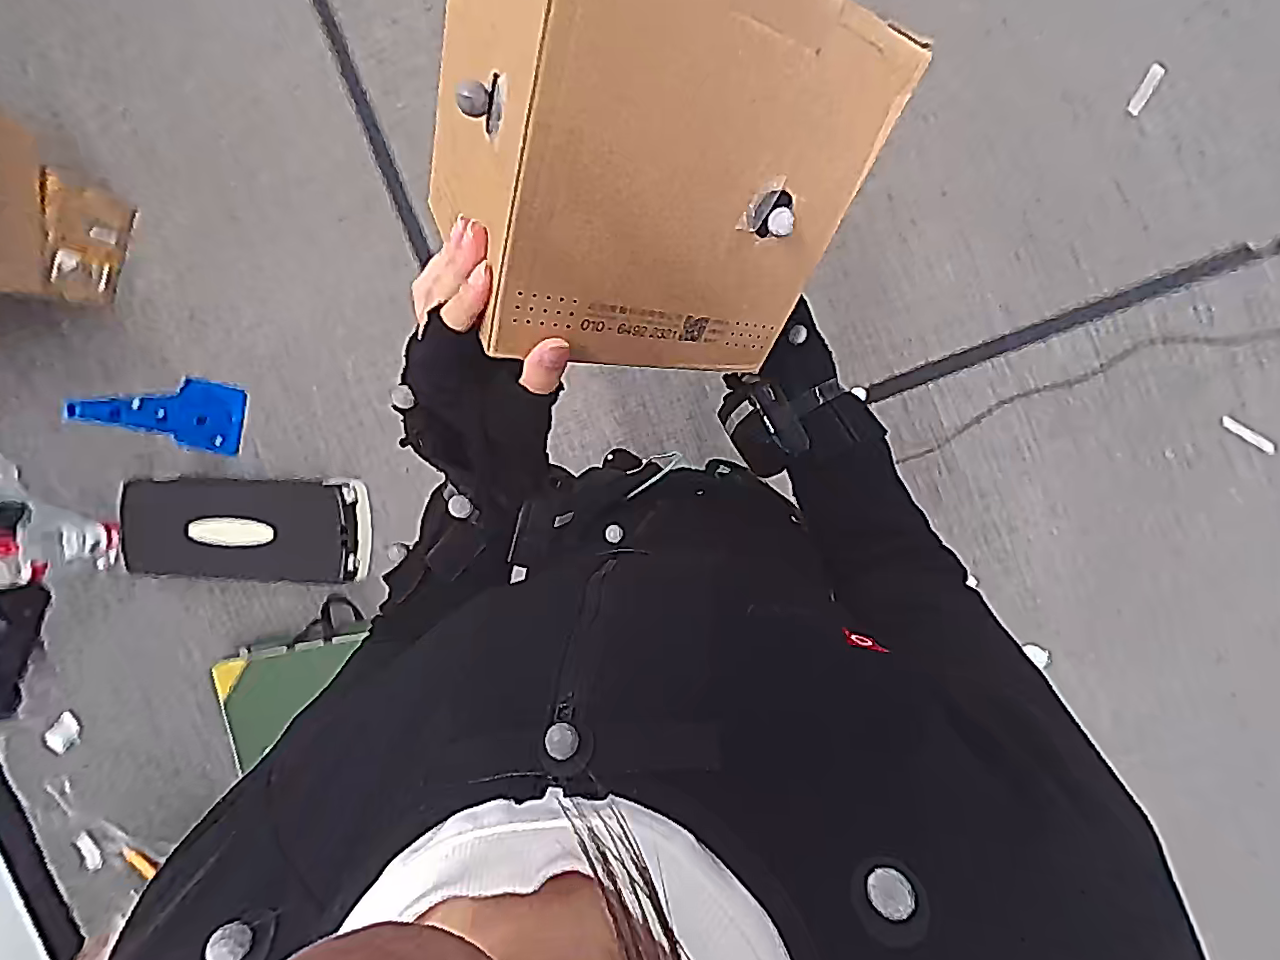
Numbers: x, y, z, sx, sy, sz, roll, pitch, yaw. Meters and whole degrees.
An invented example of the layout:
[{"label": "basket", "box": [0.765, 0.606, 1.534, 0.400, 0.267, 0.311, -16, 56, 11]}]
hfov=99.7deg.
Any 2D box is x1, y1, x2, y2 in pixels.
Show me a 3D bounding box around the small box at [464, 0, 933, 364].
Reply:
[{"label": "small box", "box": [0.005, -0.184, 0.303, 0.168, 0.179, 0.176, -1, 136, -29]}]
